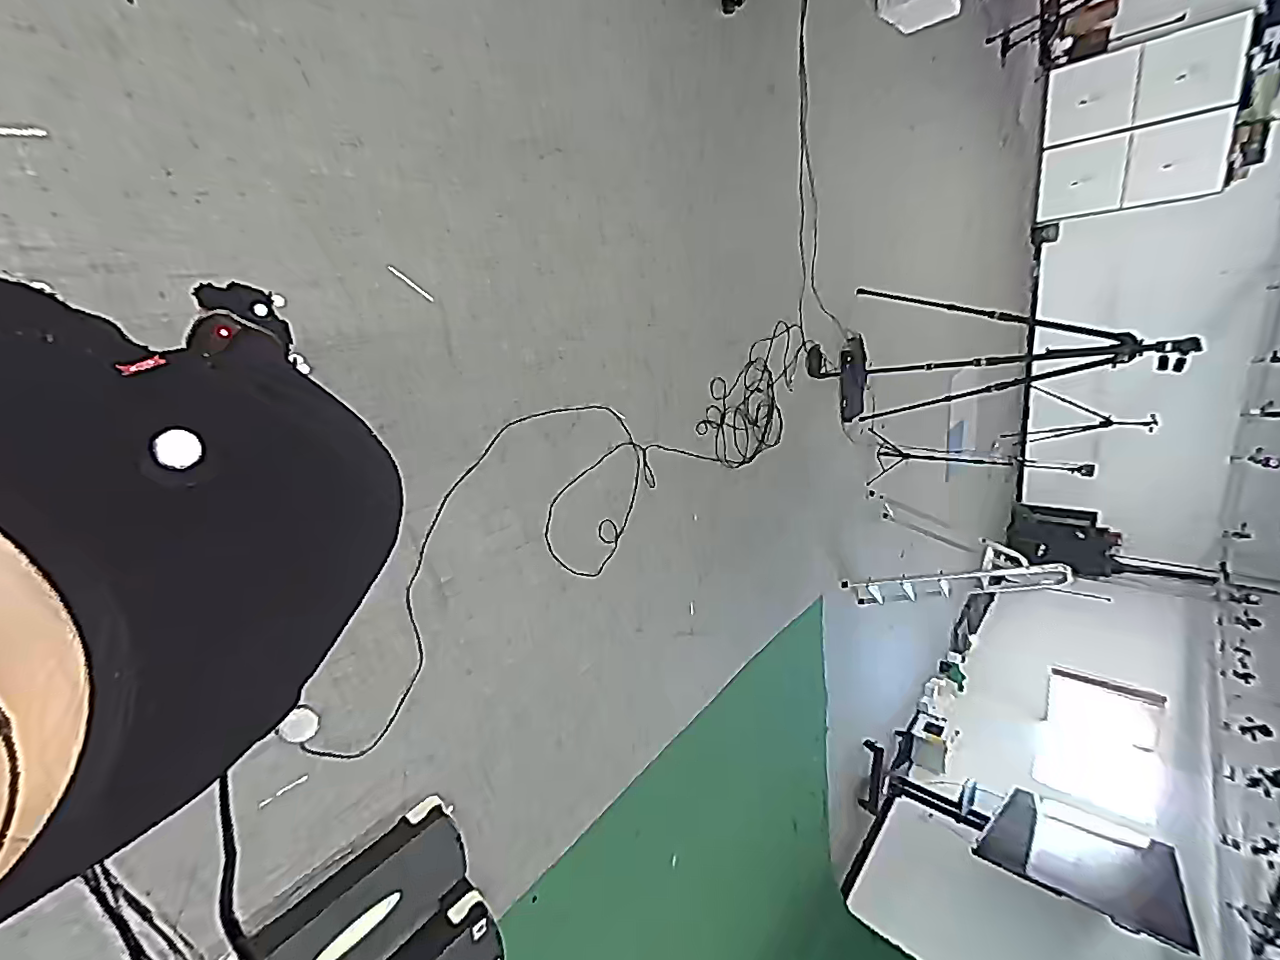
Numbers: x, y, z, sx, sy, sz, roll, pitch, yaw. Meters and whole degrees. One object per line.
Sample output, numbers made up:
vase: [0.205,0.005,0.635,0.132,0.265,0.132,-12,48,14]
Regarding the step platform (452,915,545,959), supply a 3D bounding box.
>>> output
step platform: [-0.570,1.606,1.488,0.684,0.204,0.286,-27,115,-43]
